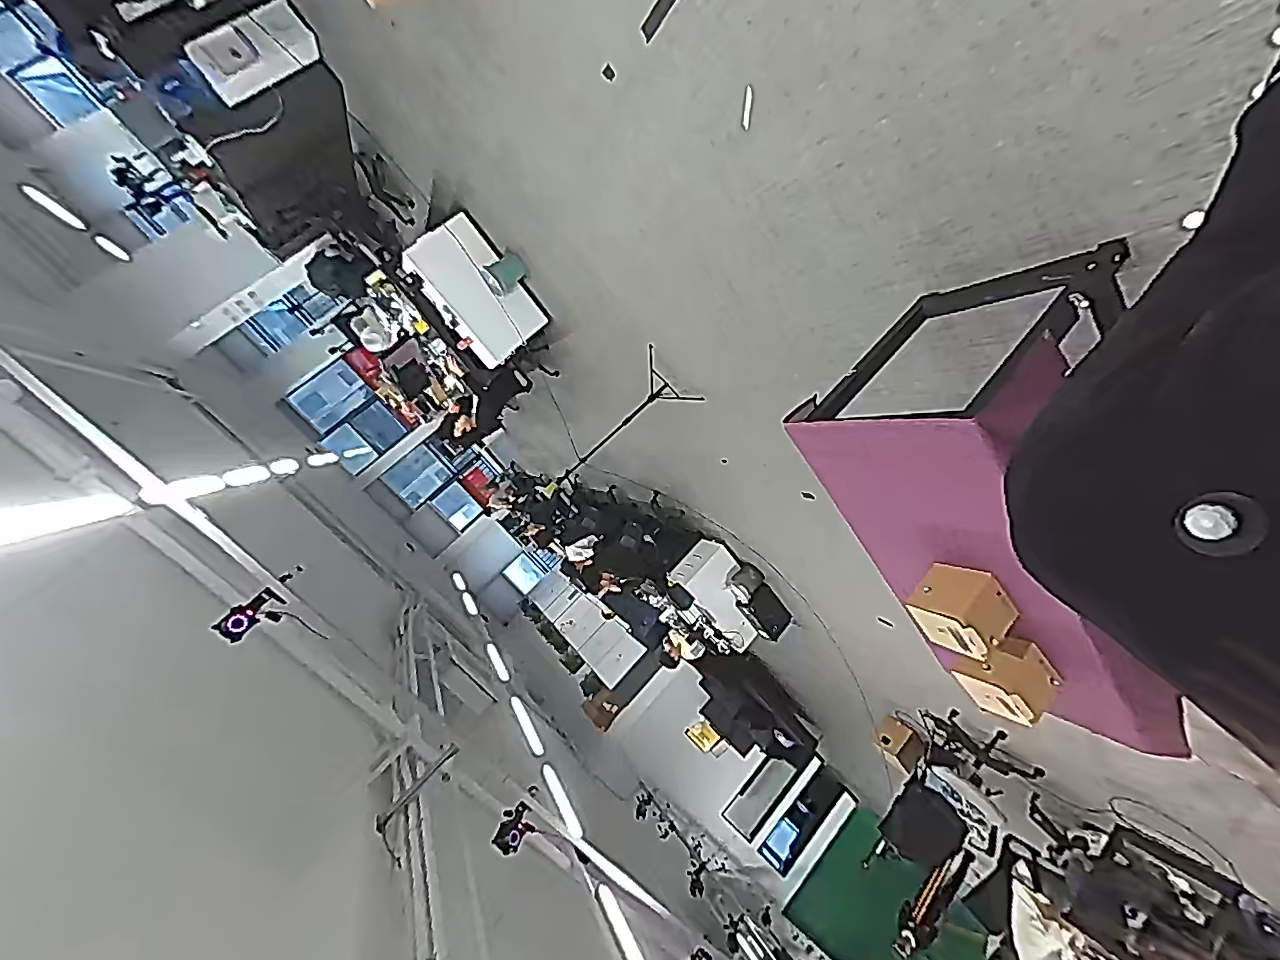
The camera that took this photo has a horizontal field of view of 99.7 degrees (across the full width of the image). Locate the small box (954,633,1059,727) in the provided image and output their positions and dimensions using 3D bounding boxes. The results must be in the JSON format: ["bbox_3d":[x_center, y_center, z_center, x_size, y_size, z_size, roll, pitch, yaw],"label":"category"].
[{"bbox_3d":[1.076,0.574,1.578,0.168,0.176,0.179,49,165,-9],"label":"small box"}]
